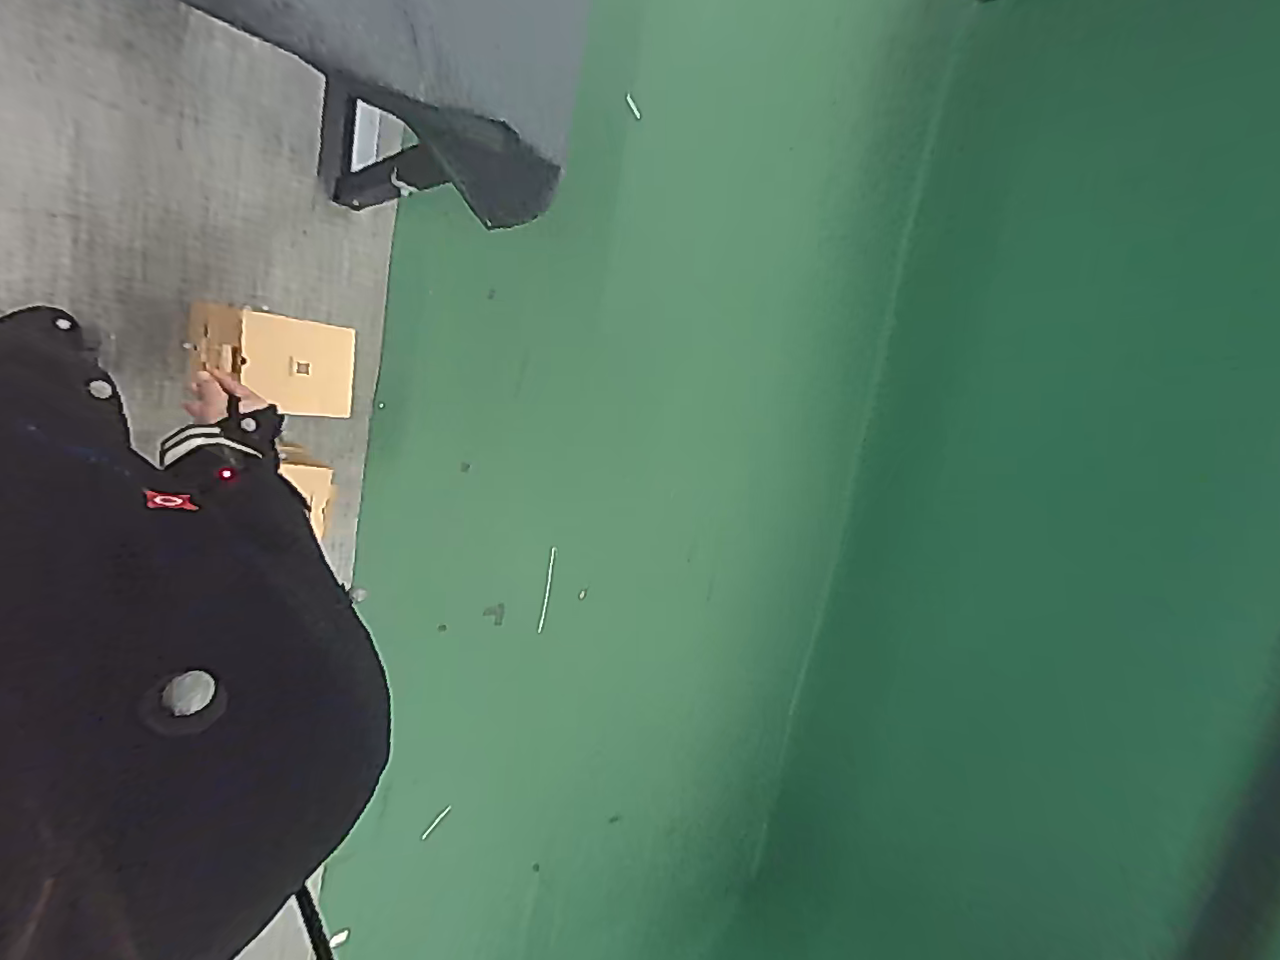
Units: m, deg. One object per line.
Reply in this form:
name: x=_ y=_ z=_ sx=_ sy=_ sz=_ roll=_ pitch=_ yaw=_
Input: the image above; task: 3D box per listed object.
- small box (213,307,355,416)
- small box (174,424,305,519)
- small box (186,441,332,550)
small box: x=-0.648 y=-0.216 z=0.983 sx=0.179 sy=0.176 sz=0.168 roll=-2 pitch=104 yaw=-48
small box: x=-0.822 y=-0.015 z=1.110 sx=0.179 sy=0.176 sz=0.168 roll=8 pitch=96 yaw=-47
small box: x=-0.706 y=0.028 z=1.002 sx=0.179 sy=0.176 sz=0.168 roll=8 pitch=95 yaw=-48
